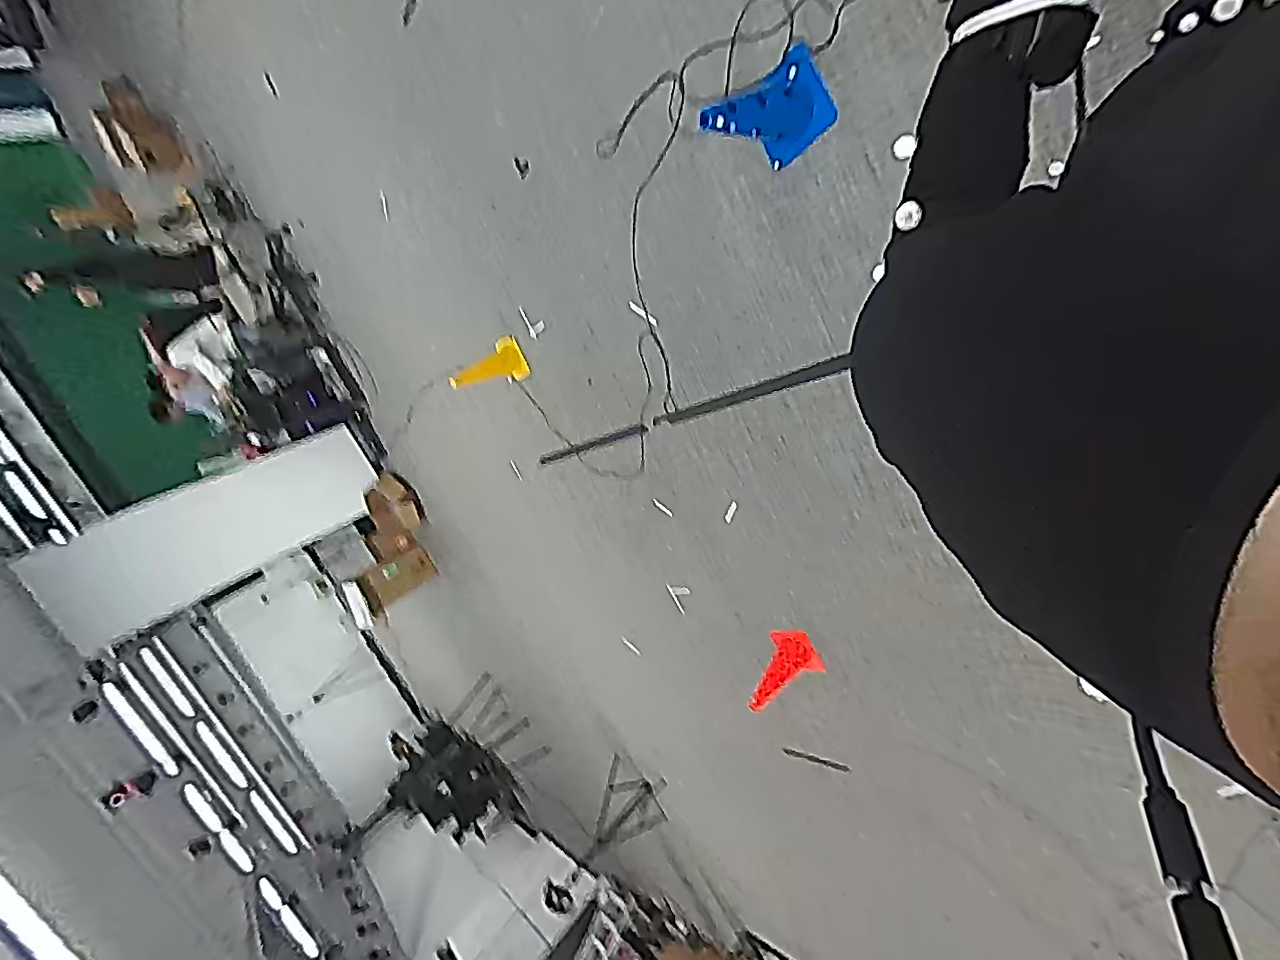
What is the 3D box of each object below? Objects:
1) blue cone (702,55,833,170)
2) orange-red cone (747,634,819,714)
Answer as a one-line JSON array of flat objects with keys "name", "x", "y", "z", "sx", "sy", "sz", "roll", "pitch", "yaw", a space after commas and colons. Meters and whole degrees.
[{"name": "blue cone", "x": 0.263, "y": -0.840, "z": 1.256, "sx": 0.193, "sy": 0.380, "sz": 0.192, "roll": -20, "pitch": 102, "yaw": 53}, {"name": "orange-red cone", "x": 0.552, "y": 0.828, "z": 2.240, "sx": 0.199, "sy": 0.360, "sz": 0.198, "roll": -20, "pitch": 103, "yaw": 52}]
